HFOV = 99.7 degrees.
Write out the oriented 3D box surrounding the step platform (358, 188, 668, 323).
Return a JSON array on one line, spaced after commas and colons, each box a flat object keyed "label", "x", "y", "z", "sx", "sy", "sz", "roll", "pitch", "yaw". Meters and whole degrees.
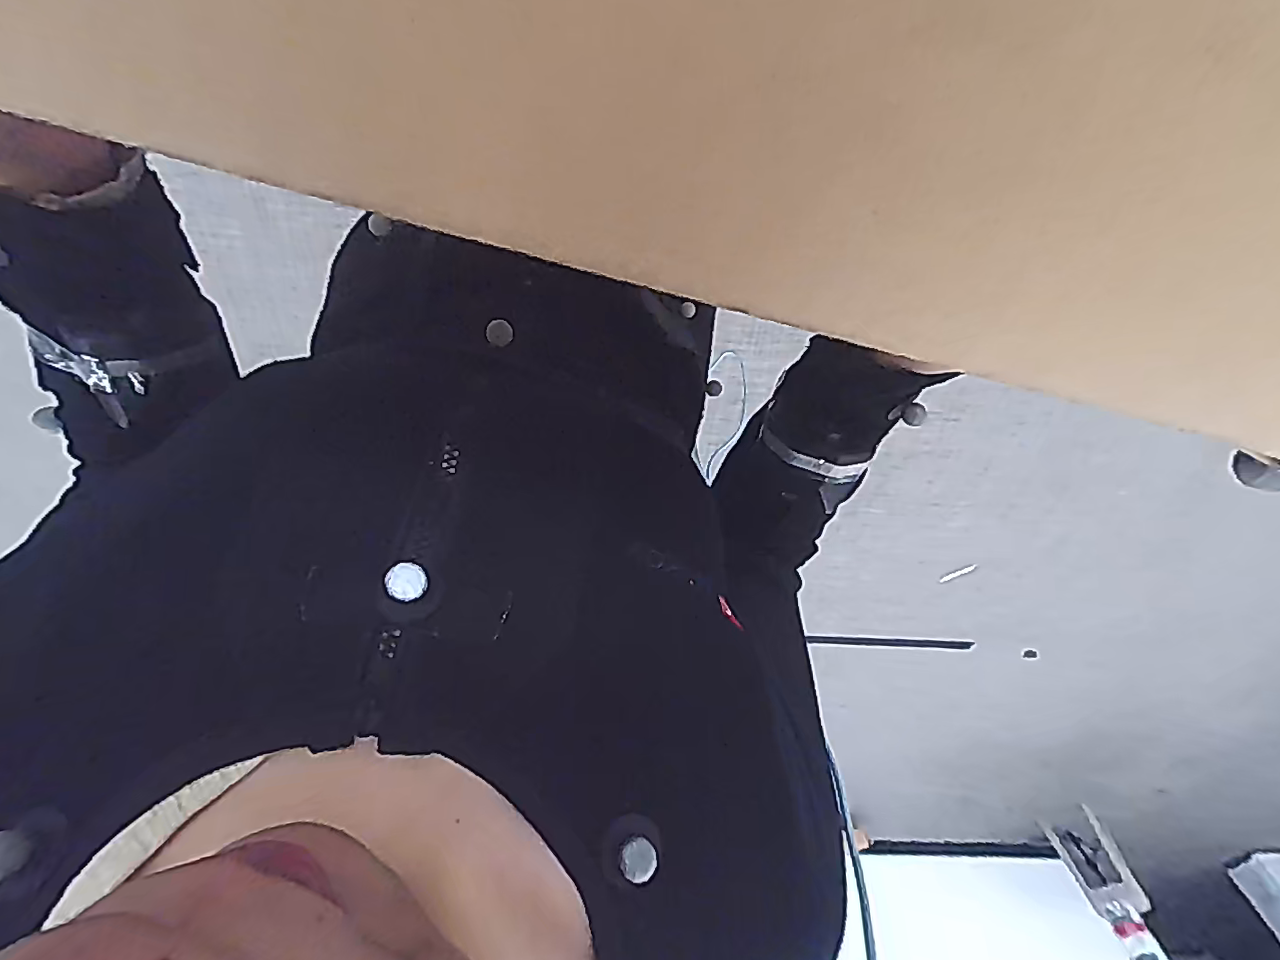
[{"label": "step platform", "x": -0.265, "y": -0.570, "z": 1.236, "sx": 0.684, "sy": 0.204, "sz": 0.286, "roll": 9, "pitch": 125, "yaw": -6}]
